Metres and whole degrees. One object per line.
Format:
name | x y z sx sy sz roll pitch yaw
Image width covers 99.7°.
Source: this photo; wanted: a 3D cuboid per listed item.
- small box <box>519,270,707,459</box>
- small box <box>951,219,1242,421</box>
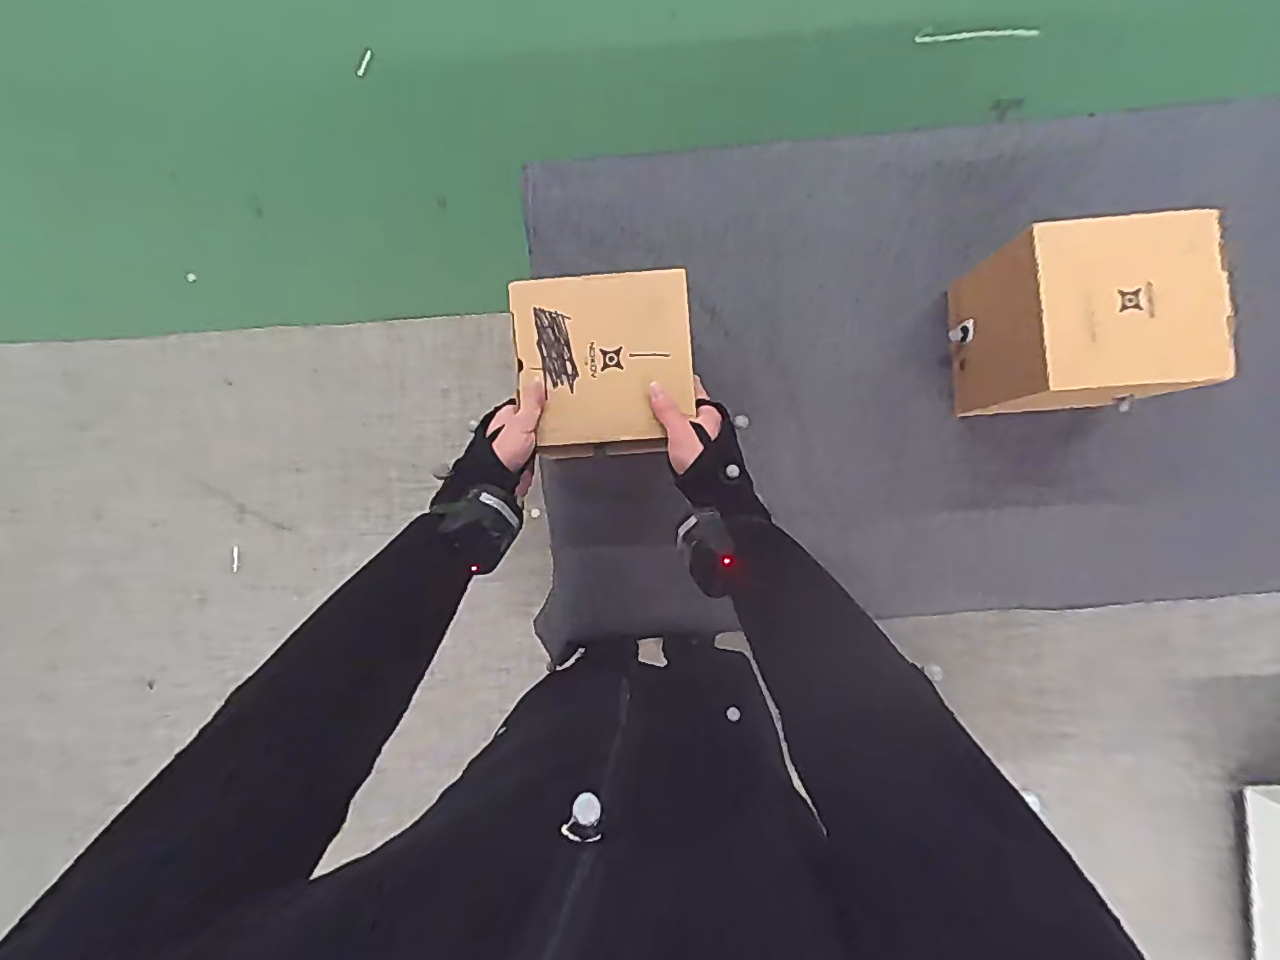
small box | -0.025 -0.113 0.594 0.179 0.176 0.168 -4 89 0
small box | 0.478 -0.161 0.593 0.179 0.176 0.168 -4 88 2
